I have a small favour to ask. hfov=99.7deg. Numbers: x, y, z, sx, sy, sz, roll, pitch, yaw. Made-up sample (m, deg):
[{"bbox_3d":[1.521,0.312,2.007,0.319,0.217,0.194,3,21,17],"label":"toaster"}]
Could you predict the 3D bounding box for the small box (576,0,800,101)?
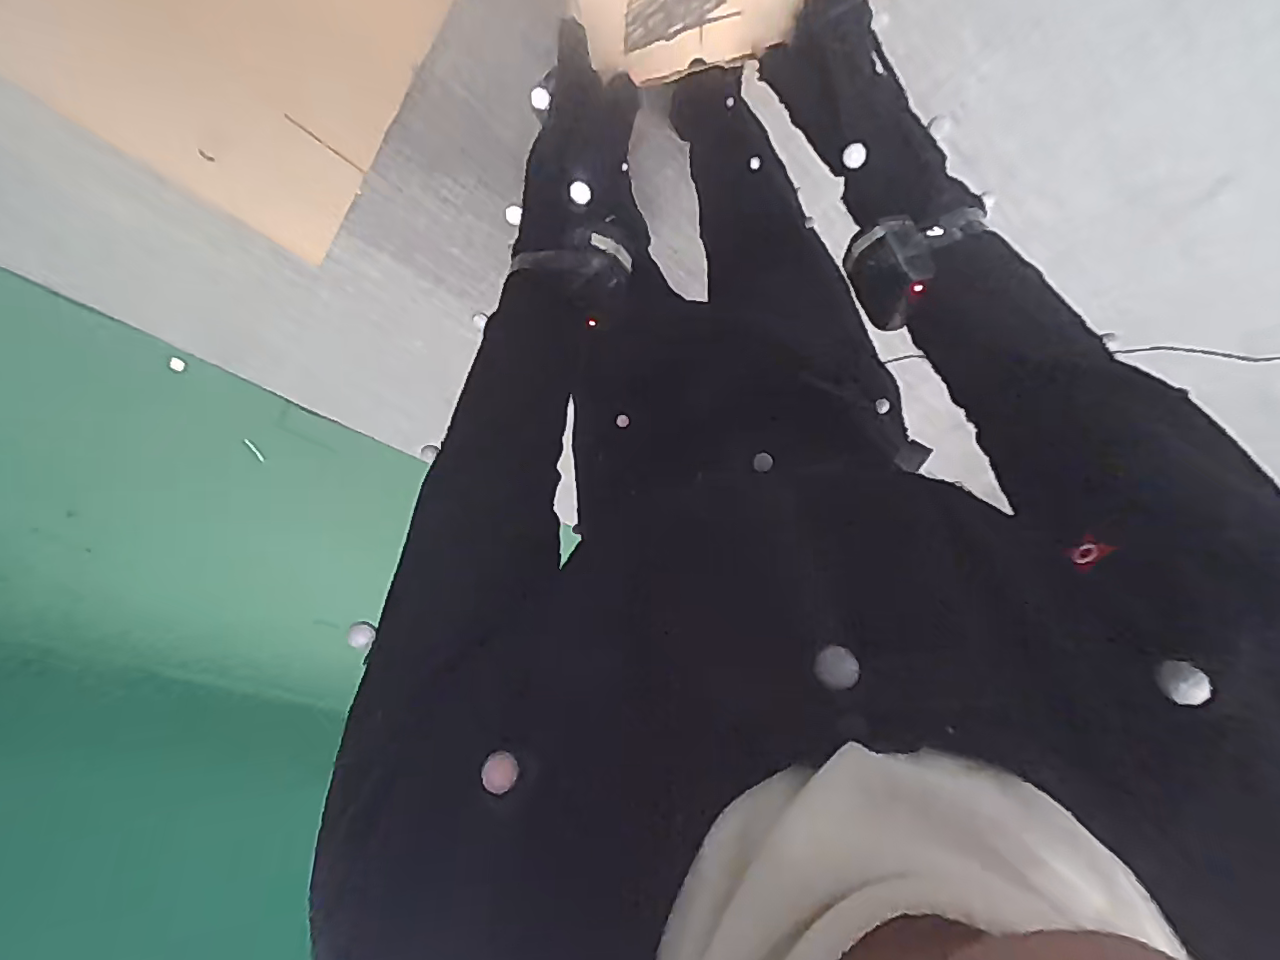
[{"bbox_3d":[0.028,-0.445,0.427,0.168,0.176,0.179,-9,138,13],"label":"small box"}]
